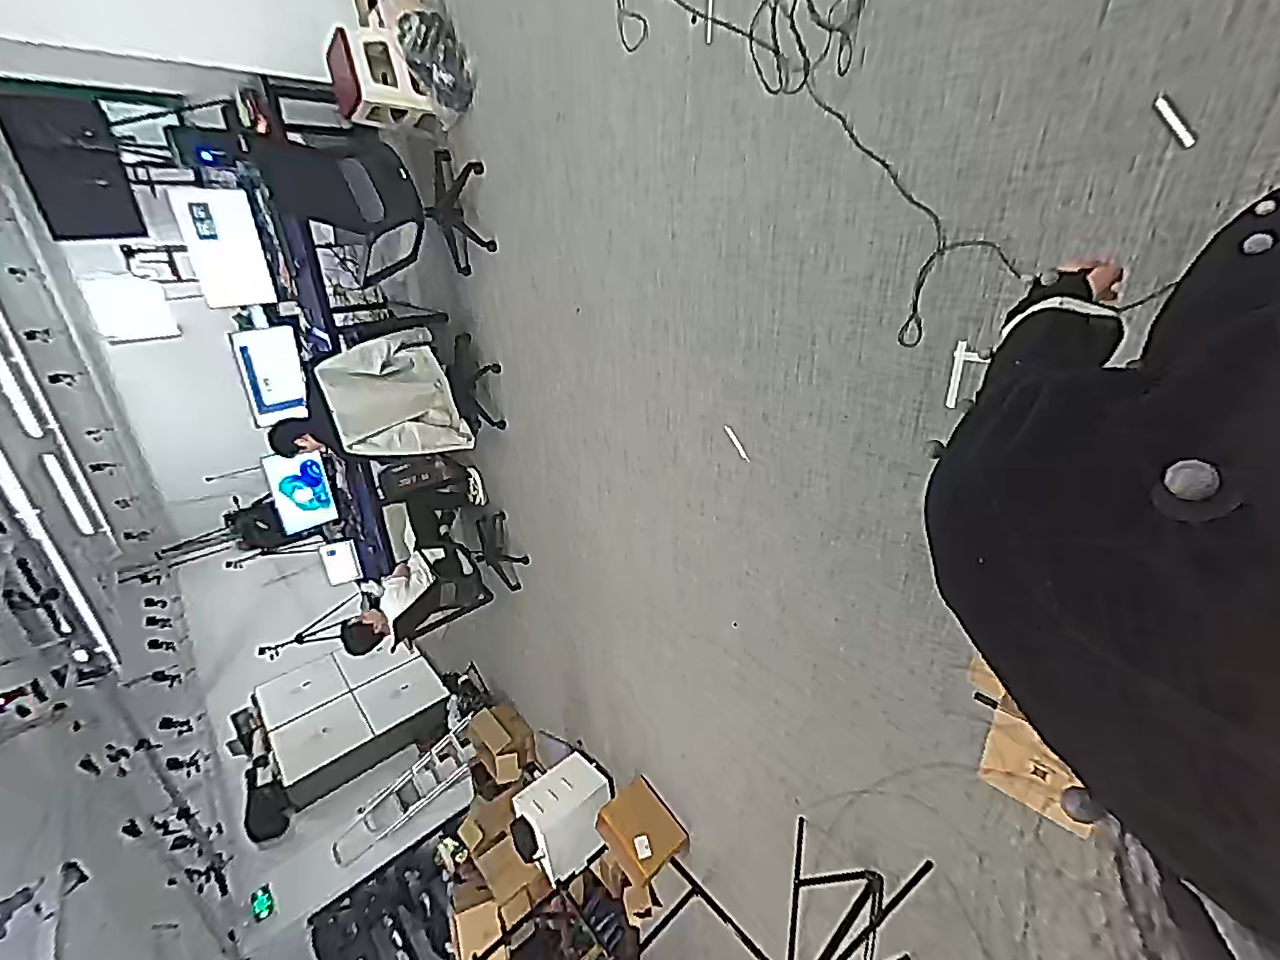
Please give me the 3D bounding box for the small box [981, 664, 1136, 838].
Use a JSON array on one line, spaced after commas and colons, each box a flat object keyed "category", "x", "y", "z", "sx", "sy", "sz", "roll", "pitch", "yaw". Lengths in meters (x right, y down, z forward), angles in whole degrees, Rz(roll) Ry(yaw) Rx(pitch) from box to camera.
[{"category": "small box", "x": 0.735, "y": 0.461, "z": 0.951, "sx": 0.168, "sy": 0.176, "sz": 0.179, "roll": 22, "pitch": 124, "yaw": 45}]
